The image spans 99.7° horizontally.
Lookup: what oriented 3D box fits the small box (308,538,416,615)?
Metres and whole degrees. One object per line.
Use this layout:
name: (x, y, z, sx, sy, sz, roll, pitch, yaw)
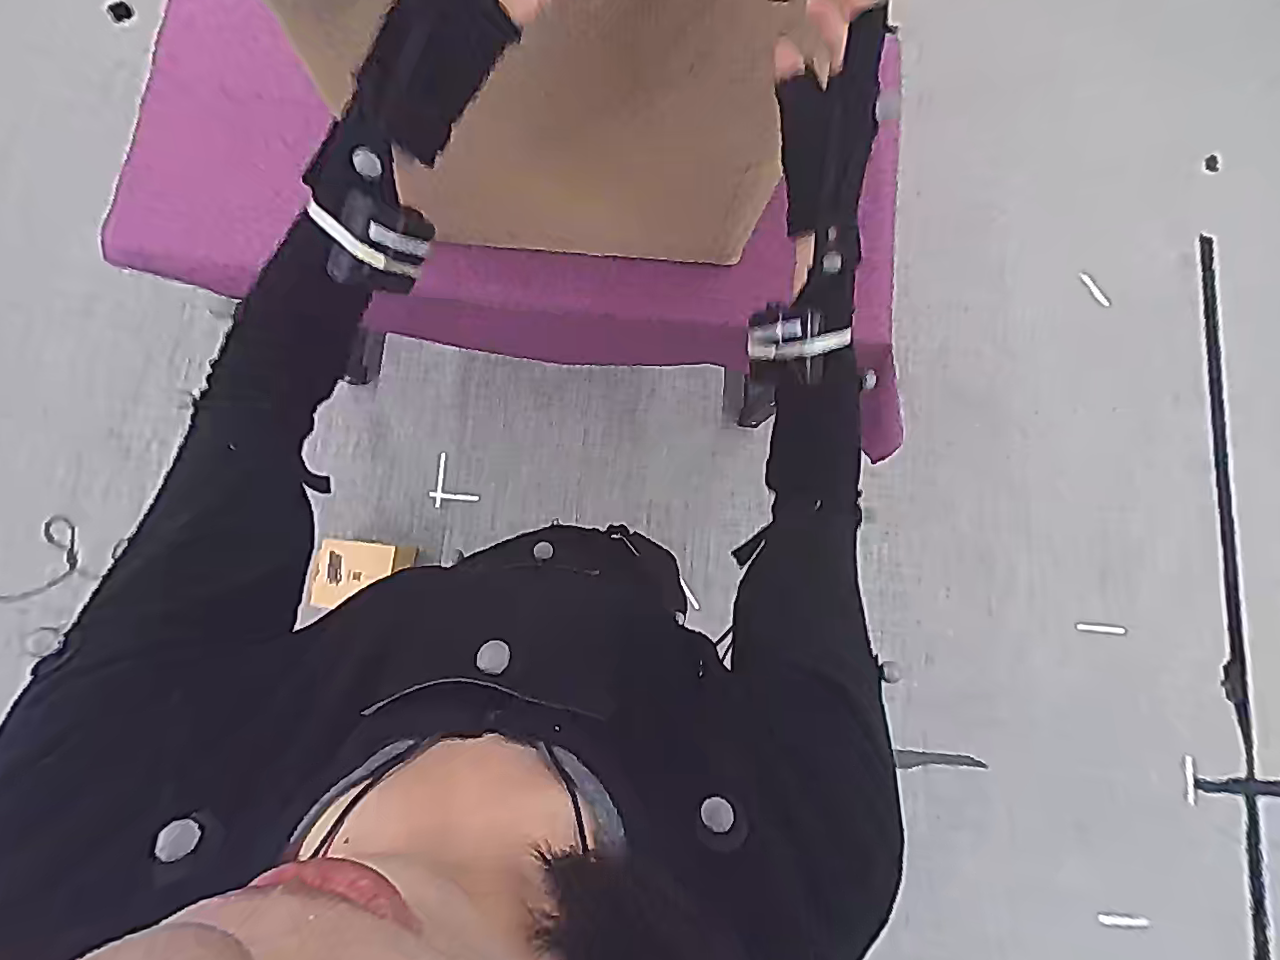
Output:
small box: (-0.699, 0.243, 1.378, 0.179, 0.176, 0.168, 8, 82, -4)
